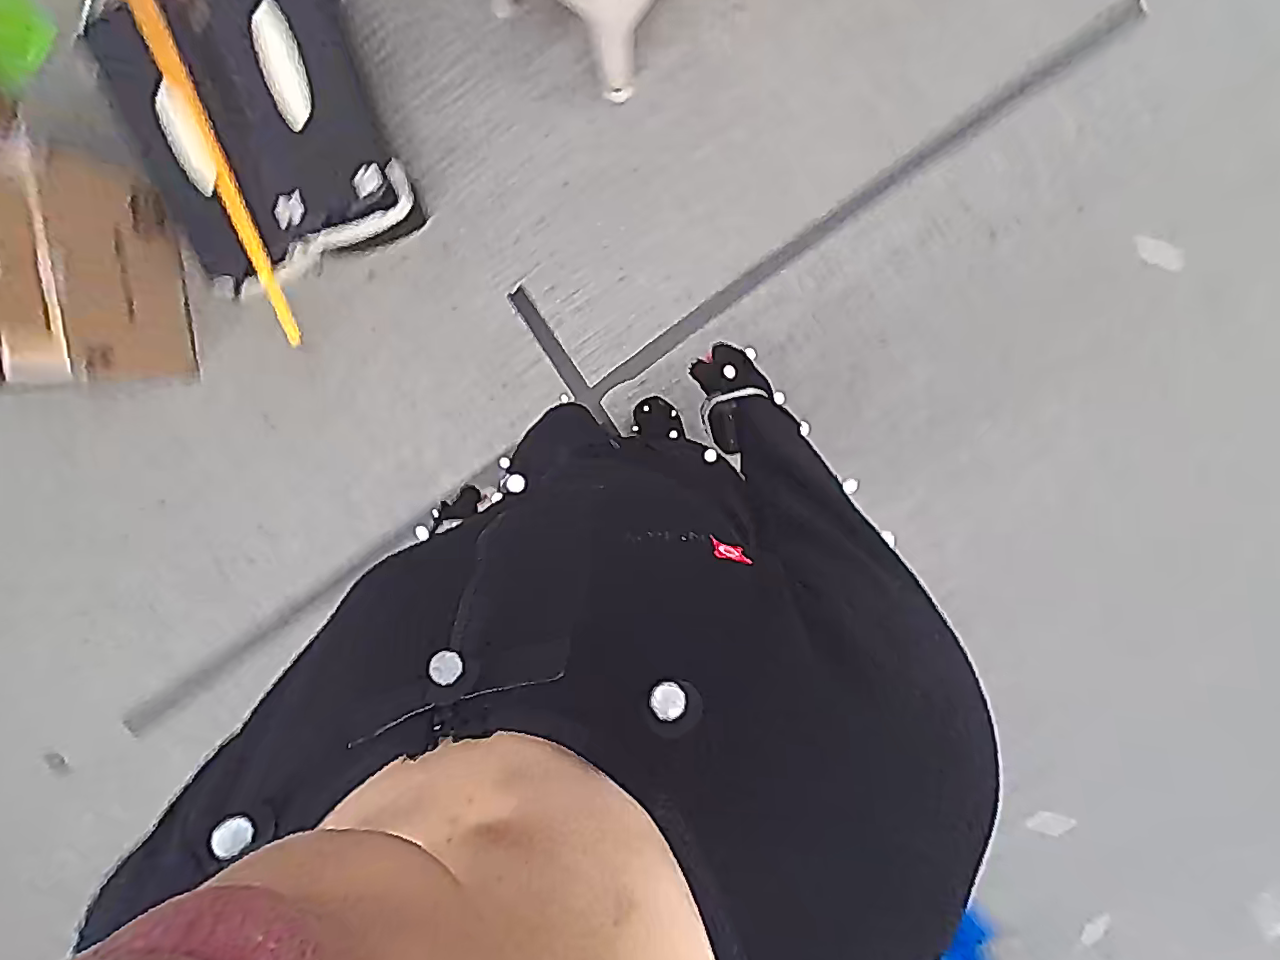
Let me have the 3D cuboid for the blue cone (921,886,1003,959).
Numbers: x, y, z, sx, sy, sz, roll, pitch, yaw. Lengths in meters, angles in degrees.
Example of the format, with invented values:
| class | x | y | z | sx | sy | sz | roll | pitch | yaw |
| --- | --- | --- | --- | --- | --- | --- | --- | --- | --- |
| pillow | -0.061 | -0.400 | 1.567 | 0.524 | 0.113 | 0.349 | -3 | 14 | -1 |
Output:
| class | x | y | z | sx | sy | sz | roll | pitch | yaw |
| --- | --- | --- | --- | --- | --- | --- | --- | --- | --- |
| blue cone | 0.962 | 1.361 | 1.474 | 0.192 | 0.380 | 0.193 | -38 | 96 | 6 |
